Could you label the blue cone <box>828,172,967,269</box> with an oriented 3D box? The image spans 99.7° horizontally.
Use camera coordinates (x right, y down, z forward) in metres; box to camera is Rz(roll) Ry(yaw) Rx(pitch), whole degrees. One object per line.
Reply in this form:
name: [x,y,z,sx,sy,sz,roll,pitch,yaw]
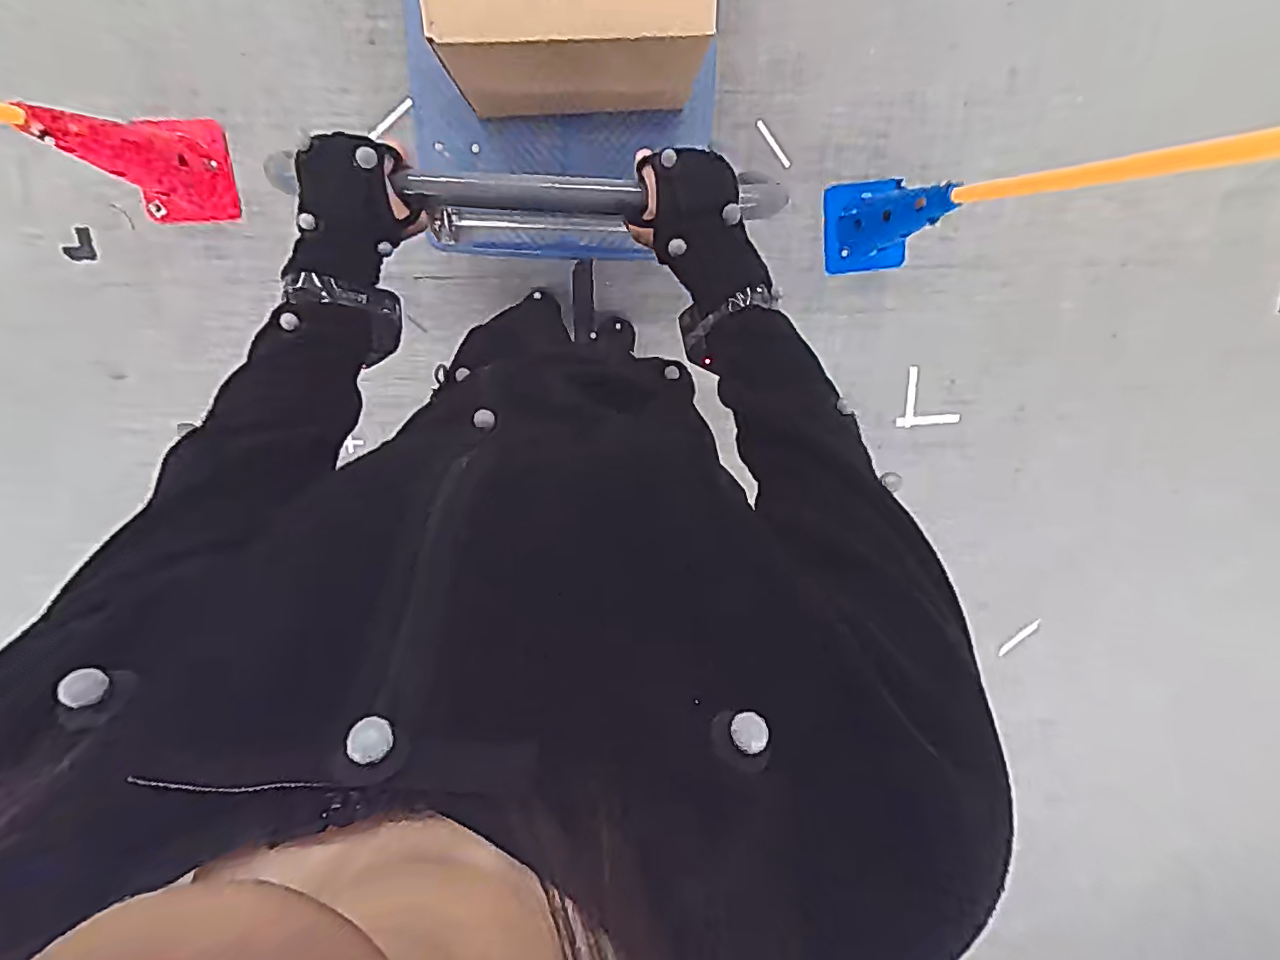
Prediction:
blue cone: [0.557,-0.570,1.144,0.193,0.380,0.192,-6,106,-2]
